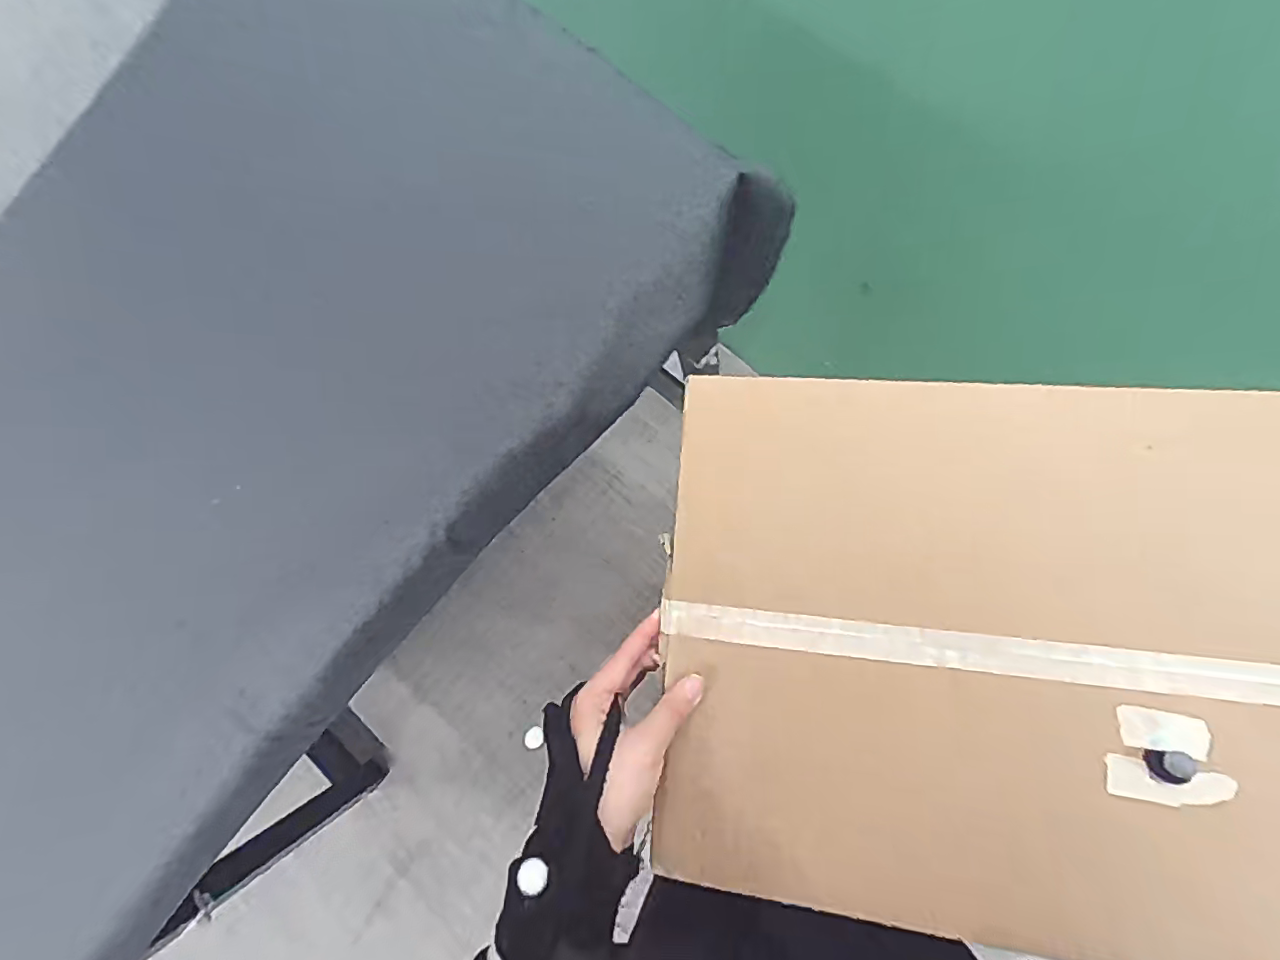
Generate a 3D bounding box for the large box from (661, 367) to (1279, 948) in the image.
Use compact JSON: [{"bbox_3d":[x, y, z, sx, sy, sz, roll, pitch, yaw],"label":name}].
[{"bbox_3d":[0.238,0.102,0.460,0.408,0.320,0.320,3,84,10],"label":"large box"}]
